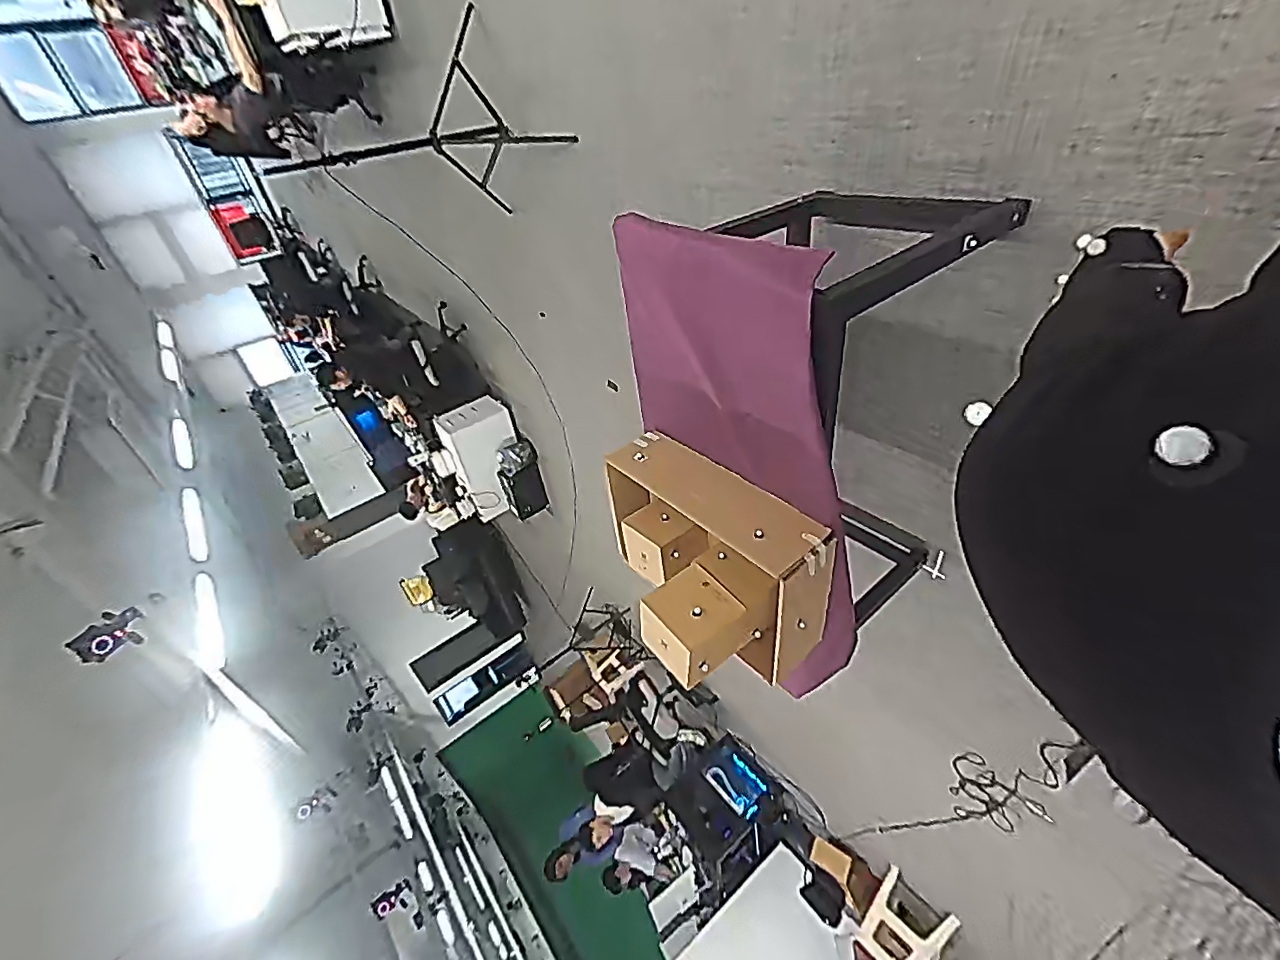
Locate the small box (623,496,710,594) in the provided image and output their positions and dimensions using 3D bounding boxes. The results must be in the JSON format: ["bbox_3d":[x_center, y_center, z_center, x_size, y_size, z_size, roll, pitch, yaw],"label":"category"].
[{"bbox_3d":[0.078,0.172,1.497,0.168,0.176,0.179,31,142,43],"label":"small box"}]
